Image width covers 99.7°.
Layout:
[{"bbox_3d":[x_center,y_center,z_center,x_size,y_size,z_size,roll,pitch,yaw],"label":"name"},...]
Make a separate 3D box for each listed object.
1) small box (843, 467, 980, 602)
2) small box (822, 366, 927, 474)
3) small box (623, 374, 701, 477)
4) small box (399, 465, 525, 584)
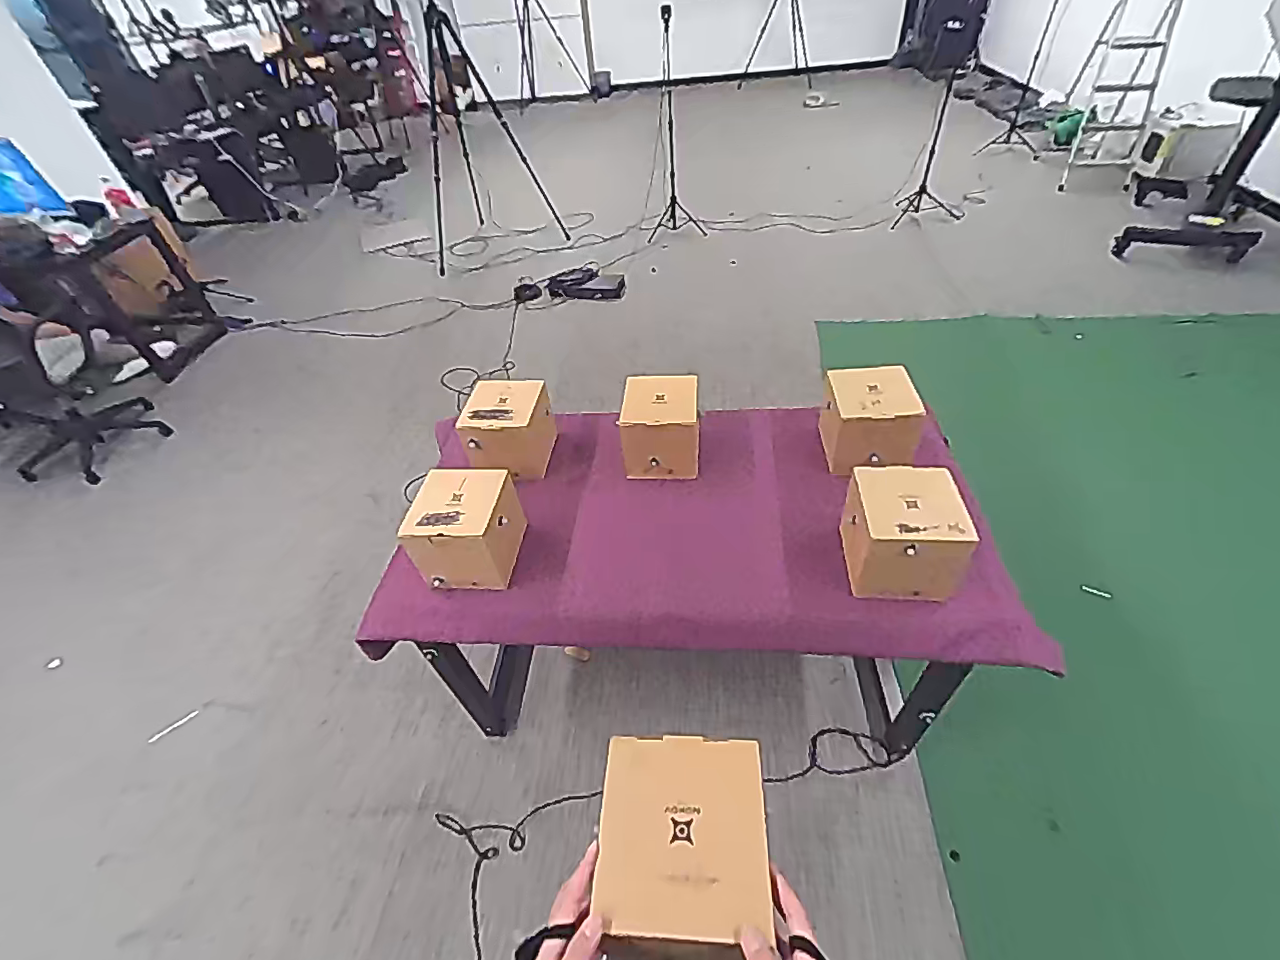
[{"bbox_3d":[0.473,0.096,0.976,0.168,0.176,0.179,1,43,9],"label":"small box"},{"bbox_3d":[0.507,-0.132,1.198,0.168,0.176,0.179,-2,46,8],"label":"small box"},{"bbox_3d":[0.055,-0.127,1.250,0.168,0.176,0.179,1,46,6],"label":"small box"},{"bbox_3d":[-0.338,0.089,1.072,0.168,0.176,0.179,1,45,6],"label":"small box"}]
